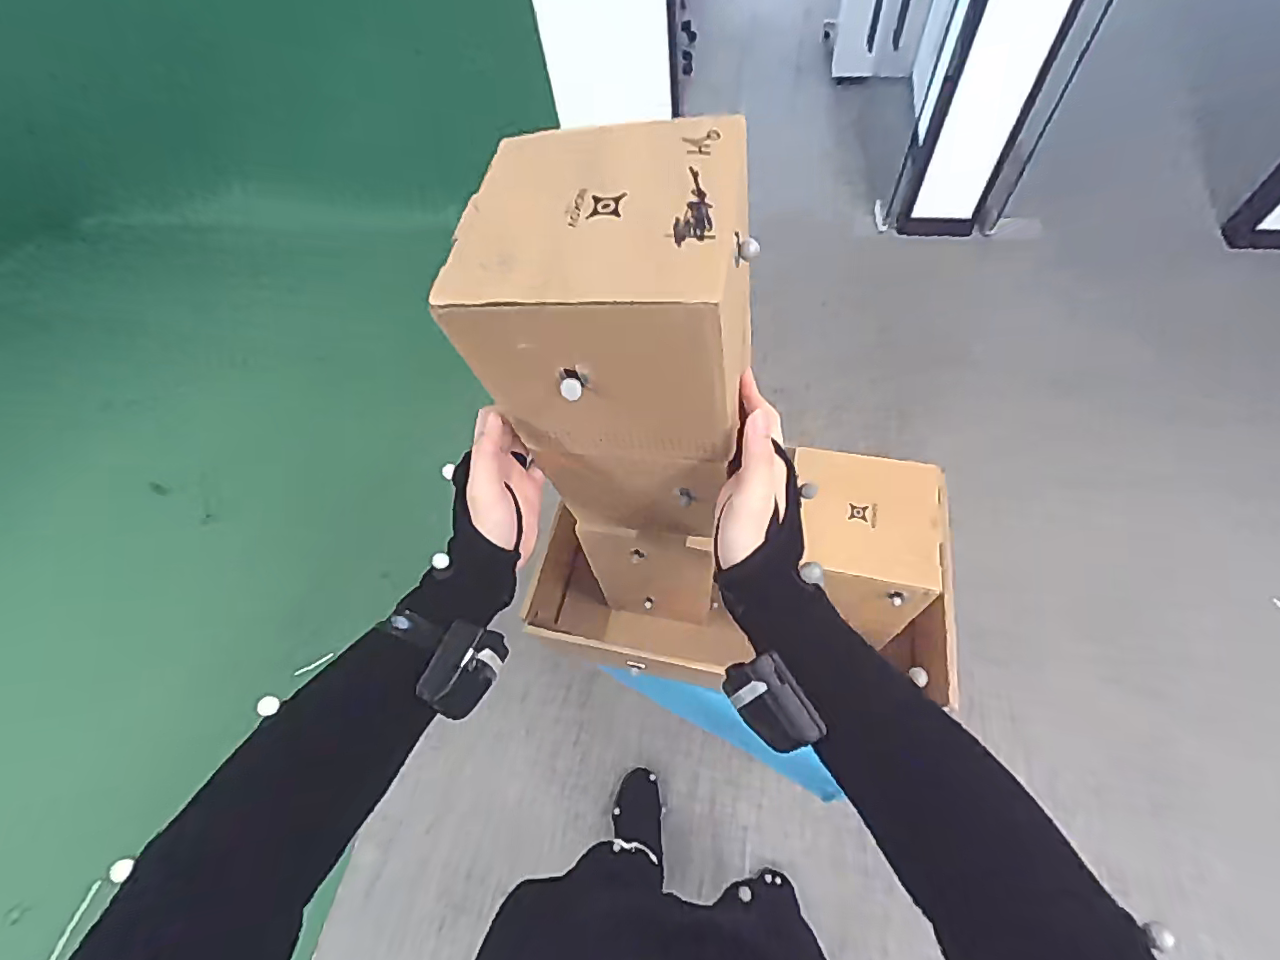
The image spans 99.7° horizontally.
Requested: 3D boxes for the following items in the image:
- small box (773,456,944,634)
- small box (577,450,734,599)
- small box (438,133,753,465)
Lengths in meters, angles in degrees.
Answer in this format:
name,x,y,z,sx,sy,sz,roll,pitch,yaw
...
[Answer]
name,x,y,z,sx,sy,sz,roll,pitch,yaw
small box,0.277,0.090,0.714,0.179,0.176,0.168,9,61,13
small box,0.029,0.054,0.759,0.179,0.176,0.168,9,60,10
small box,-0.011,-0.123,0.409,0.179,0.176,0.168,4,63,14
